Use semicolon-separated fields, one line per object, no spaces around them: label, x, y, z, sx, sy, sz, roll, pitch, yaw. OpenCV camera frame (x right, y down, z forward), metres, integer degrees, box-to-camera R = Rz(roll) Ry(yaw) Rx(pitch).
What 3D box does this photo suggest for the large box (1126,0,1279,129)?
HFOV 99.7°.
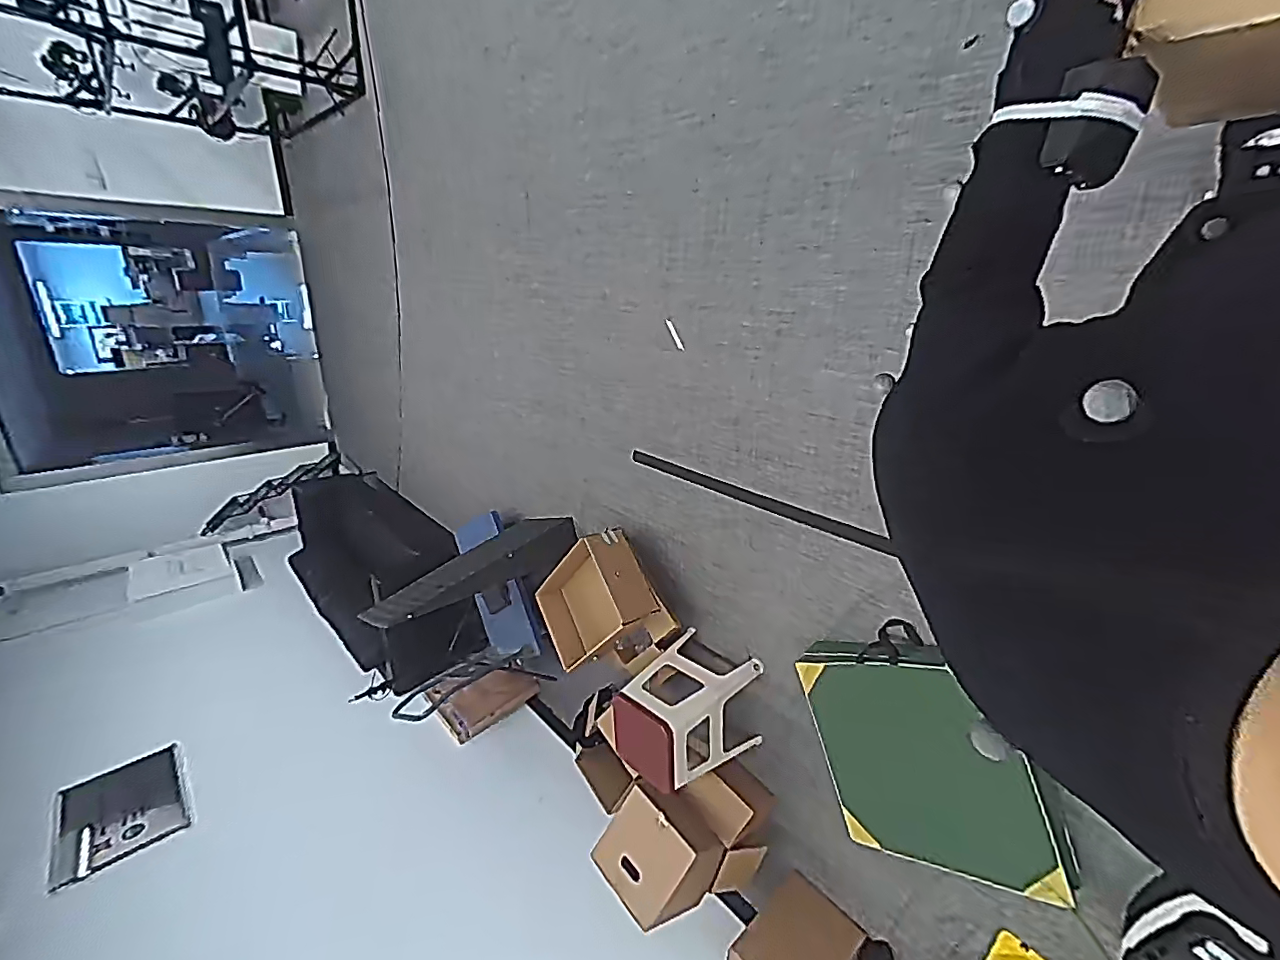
large box;0.578;-0.429;0.289;0.408;0.320;0.320;20;119;43
